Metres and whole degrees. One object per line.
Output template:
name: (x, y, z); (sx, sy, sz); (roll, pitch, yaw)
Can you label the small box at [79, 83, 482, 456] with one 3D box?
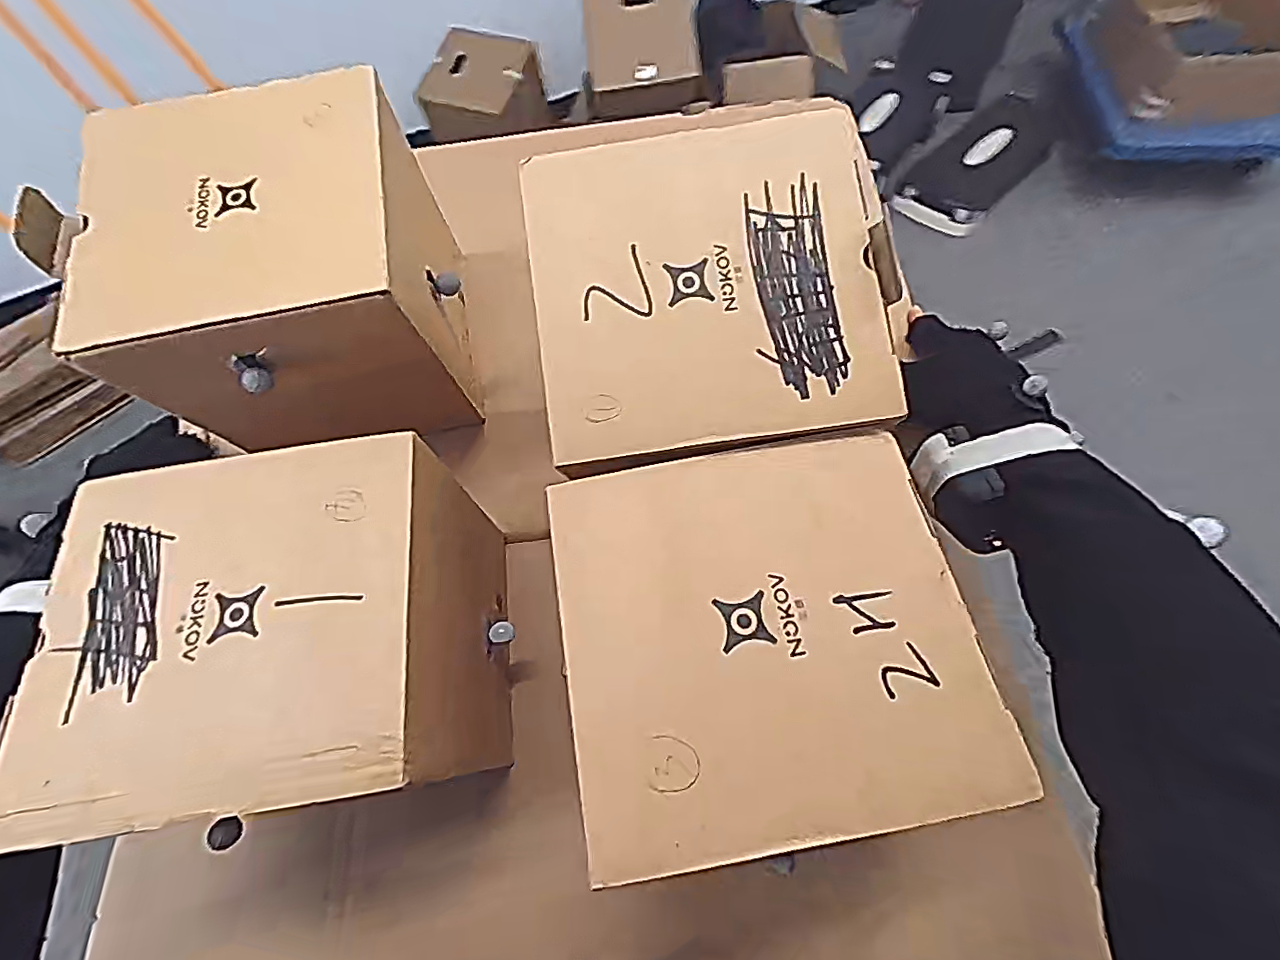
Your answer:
small box: (-0.223, -0.131, 0.388); (0.179, 0.176, 0.168); (-11, 72, 0)
